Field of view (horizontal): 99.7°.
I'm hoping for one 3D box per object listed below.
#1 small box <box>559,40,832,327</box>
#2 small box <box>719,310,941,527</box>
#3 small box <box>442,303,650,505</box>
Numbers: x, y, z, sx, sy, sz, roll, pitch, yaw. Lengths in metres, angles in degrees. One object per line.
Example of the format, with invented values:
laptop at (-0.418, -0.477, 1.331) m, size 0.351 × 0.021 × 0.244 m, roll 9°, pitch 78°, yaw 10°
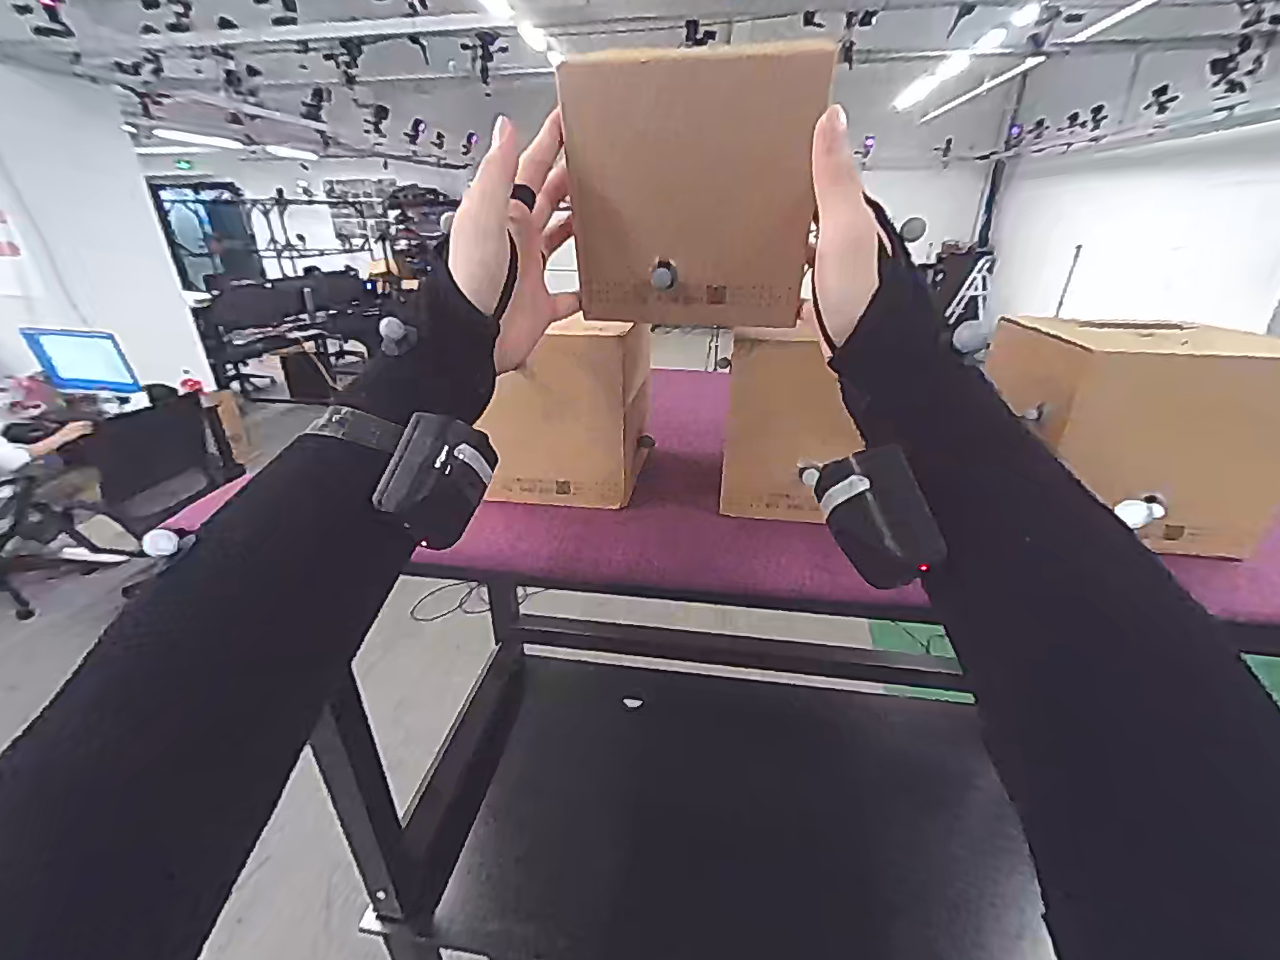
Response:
small box at (0.045, -0.238, 0.430) m, size 0.168 × 0.176 × 0.179 m, roll 4°, pitch 40°, yaw 9°
small box at (0.167, -0.072, 0.537) m, size 0.168 × 0.176 × 0.179 m, roll 4°, pitch 25°, yaw 9°
small box at (-0.084, -0.089, 0.569) m, size 0.168 × 0.176 × 0.179 m, roll 3°, pitch 24°, yaw 8°
